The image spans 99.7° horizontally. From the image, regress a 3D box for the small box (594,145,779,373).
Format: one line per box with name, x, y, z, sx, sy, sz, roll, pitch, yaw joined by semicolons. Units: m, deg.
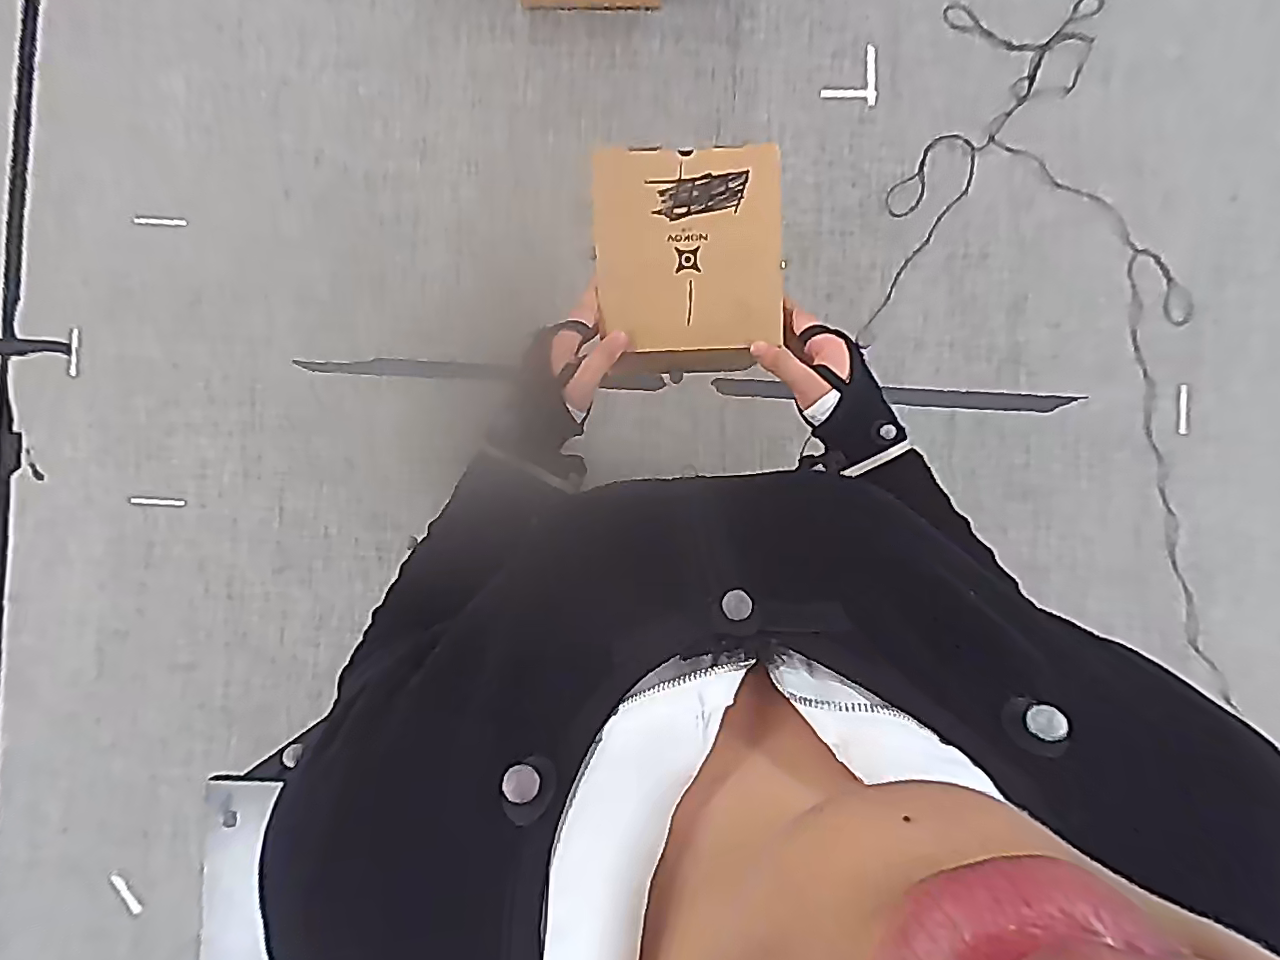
small box;0.040;-0.211;0.558;0.168;0.176;0.179;-2;94;0
